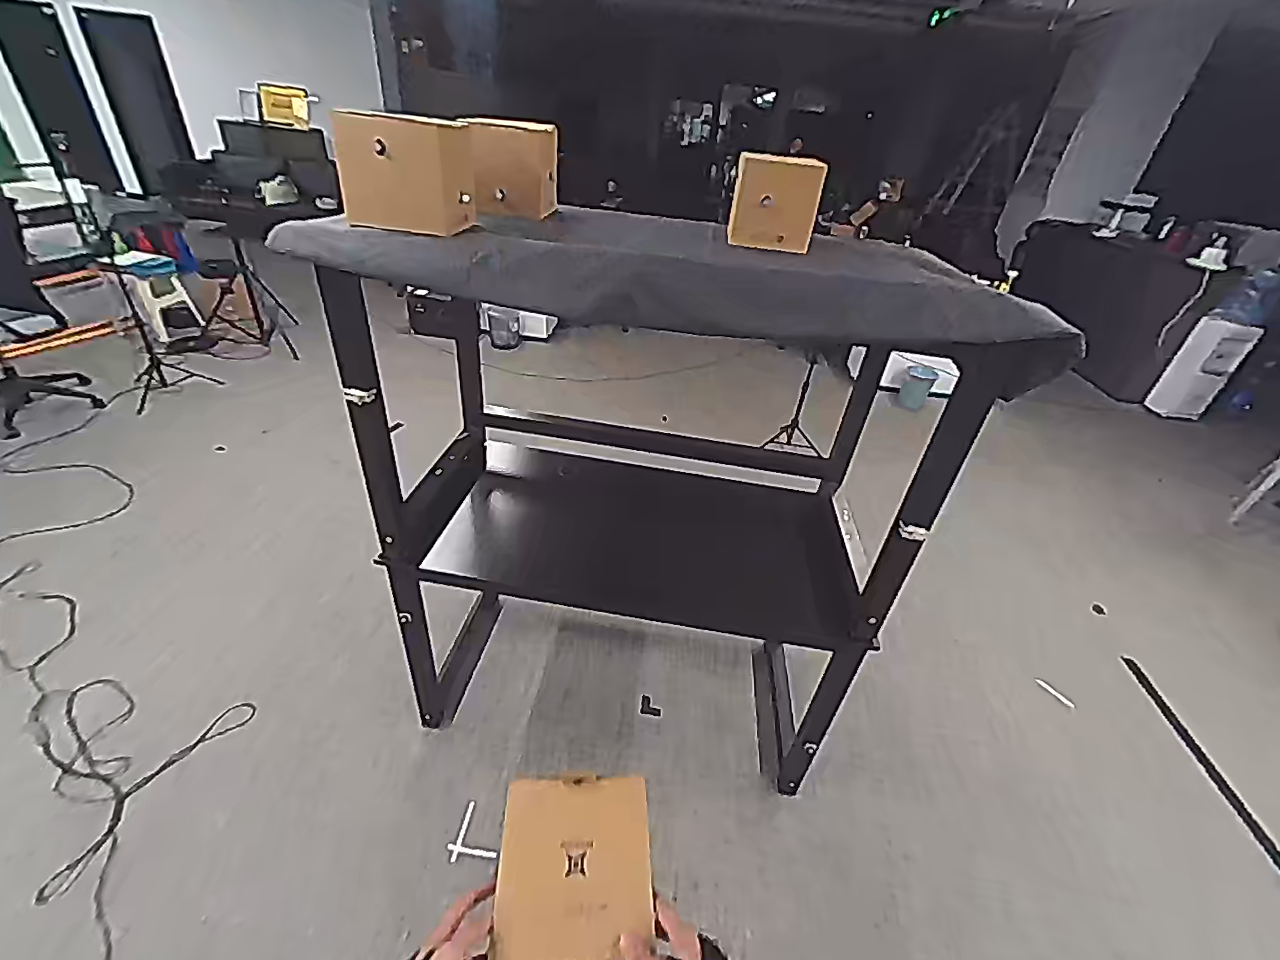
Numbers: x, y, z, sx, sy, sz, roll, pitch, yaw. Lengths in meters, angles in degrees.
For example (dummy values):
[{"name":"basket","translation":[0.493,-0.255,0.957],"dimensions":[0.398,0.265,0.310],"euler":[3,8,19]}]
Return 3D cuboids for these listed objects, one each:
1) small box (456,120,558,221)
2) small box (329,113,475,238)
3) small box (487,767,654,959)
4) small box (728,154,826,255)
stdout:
[{"name":"small box","translation":[-0.284,-0.676,1.187],"dimensions":[0.179,0.176,0.168],"euler":[8,34,1]},{"name":"small box","translation":[-0.404,-0.532,0.951],"dimensions":[0.179,0.176,0.168],"euler":[7,33,-1]},{"name":"small box","translation":[-0.080,0.465,0.634],"dimensions":[0.168,0.176,0.179],"euler":[2,37,-7]},{"name":"small box","translation":[0.287,-0.596,1.169],"dimensions":[0.168,0.176,0.179],"euler":[8,34,2]}]
